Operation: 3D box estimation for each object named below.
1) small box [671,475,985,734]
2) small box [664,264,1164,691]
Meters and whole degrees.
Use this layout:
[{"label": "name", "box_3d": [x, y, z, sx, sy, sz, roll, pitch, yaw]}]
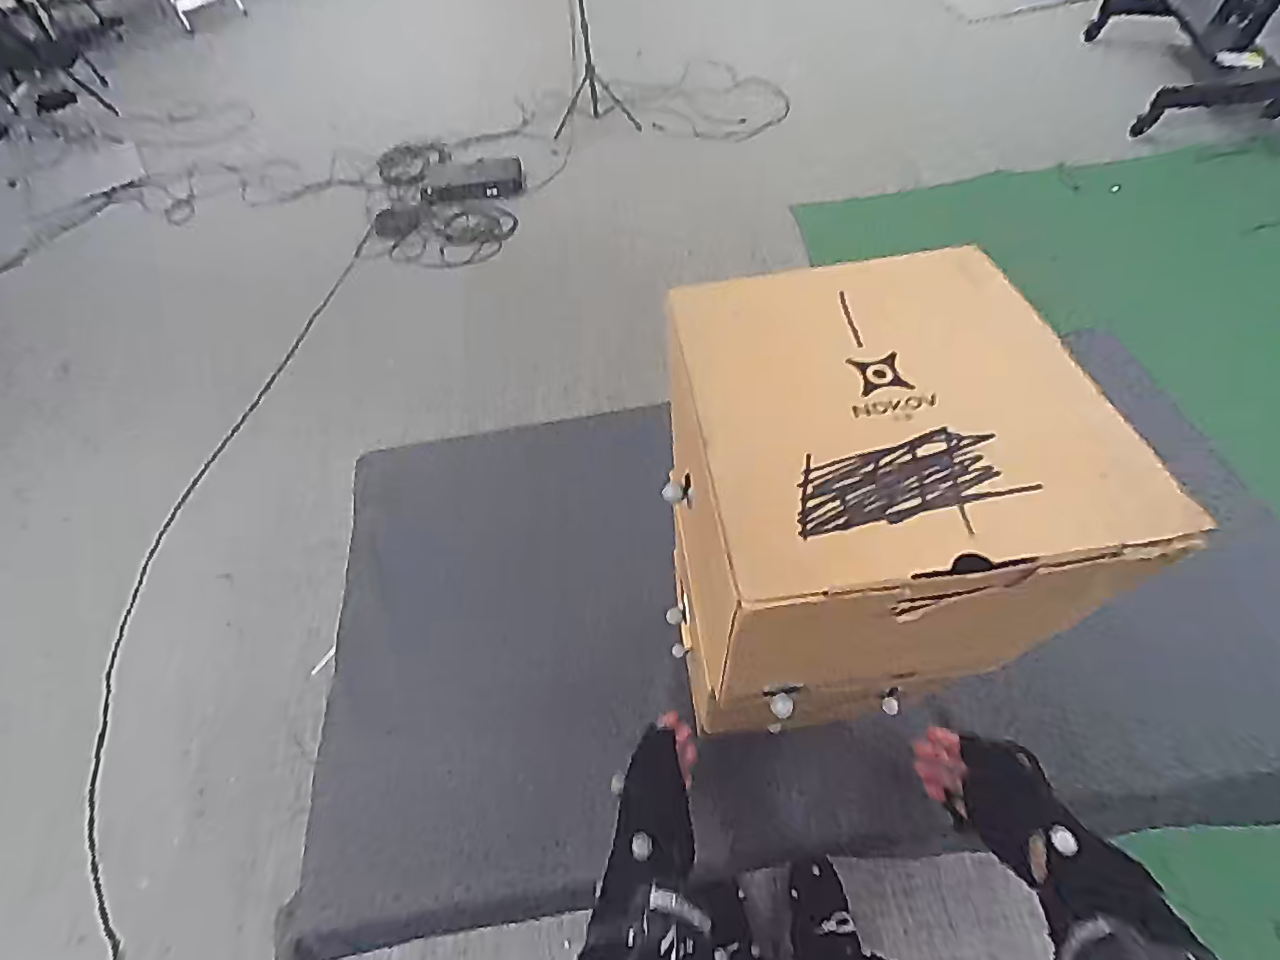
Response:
[{"label": "small box", "box_3d": [0.124, 0.091, 0.432, 0.179, 0.176, 0.168, -11, 57, -2]}, {"label": "small box", "box_3d": [0.109, 0.011, 0.309, 0.168, 0.176, 0.179, -8, 55, 0]}]
